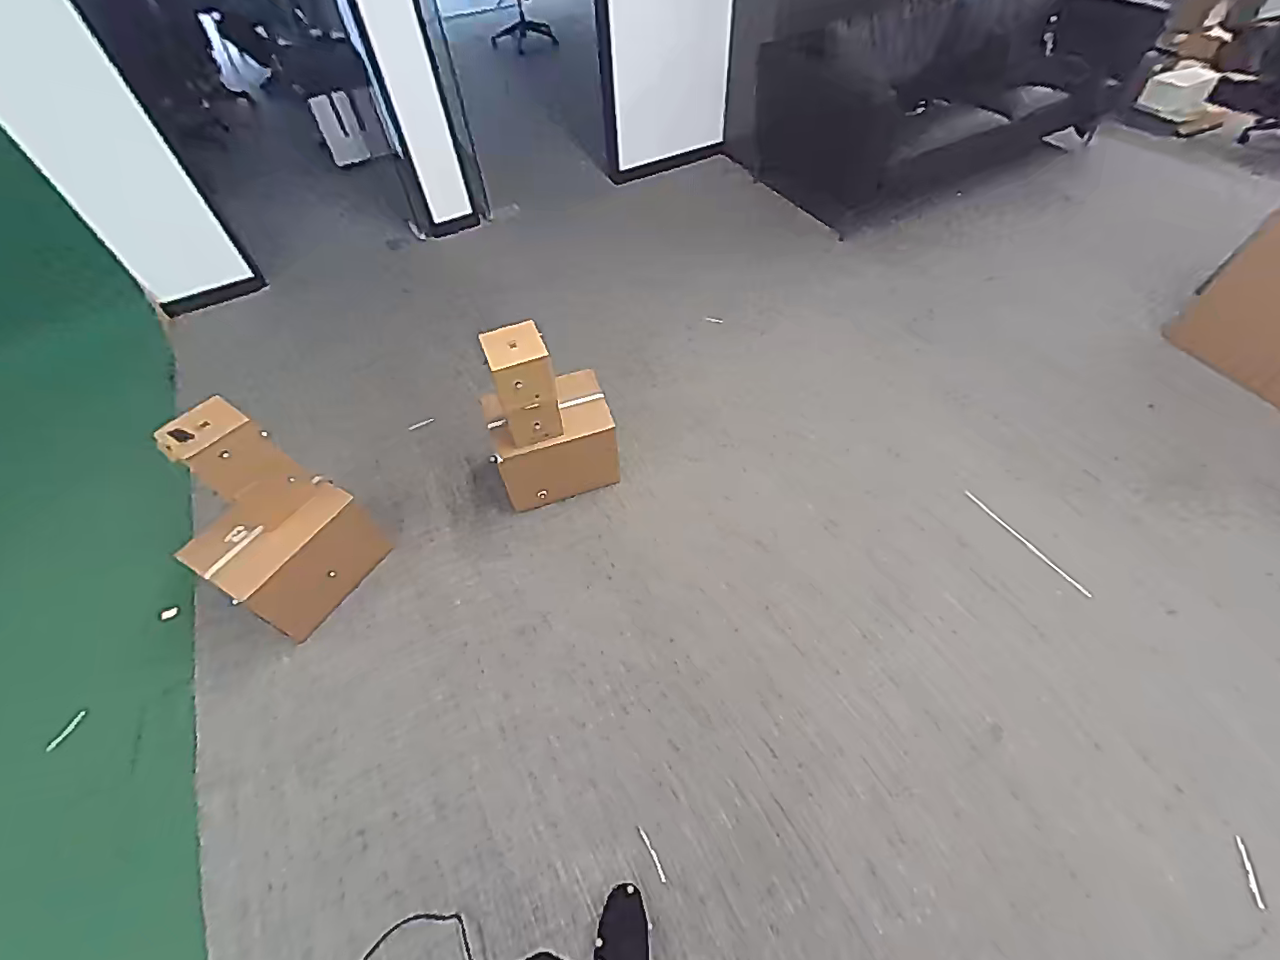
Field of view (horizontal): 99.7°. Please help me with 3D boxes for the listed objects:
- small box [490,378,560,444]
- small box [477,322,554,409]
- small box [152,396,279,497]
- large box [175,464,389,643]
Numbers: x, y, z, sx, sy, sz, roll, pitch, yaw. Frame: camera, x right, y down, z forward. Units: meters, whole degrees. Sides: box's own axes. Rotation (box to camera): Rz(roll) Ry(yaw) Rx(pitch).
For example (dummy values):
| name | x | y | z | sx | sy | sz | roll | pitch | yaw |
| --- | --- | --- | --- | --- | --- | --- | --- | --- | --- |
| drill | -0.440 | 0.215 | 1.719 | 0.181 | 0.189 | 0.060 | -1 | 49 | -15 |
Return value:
| name | x | y | z | sx | sy | sz | roll | pitch | yaw |
| --- | --- | --- | --- | --- | --- | --- | --- | --- | --- |
| small box | -0.363 | -0.234 | 1.730 | 0.168 | 0.176 | 0.179 | -19 | 56 | -12 |
| small box | -0.364 | -0.332 | 1.599 | 0.168 | 0.176 | 0.179 | -20 | 54 | -12 |
| small box | -1.119 | -0.086 | 1.438 | 0.168 | 0.176 | 0.179 | 29 | 59 | 22 |
| large box | -1.099 | 0.230 | 1.713 | 0.320 | 0.320 | 0.408 | 22 | 58 | 19 |
